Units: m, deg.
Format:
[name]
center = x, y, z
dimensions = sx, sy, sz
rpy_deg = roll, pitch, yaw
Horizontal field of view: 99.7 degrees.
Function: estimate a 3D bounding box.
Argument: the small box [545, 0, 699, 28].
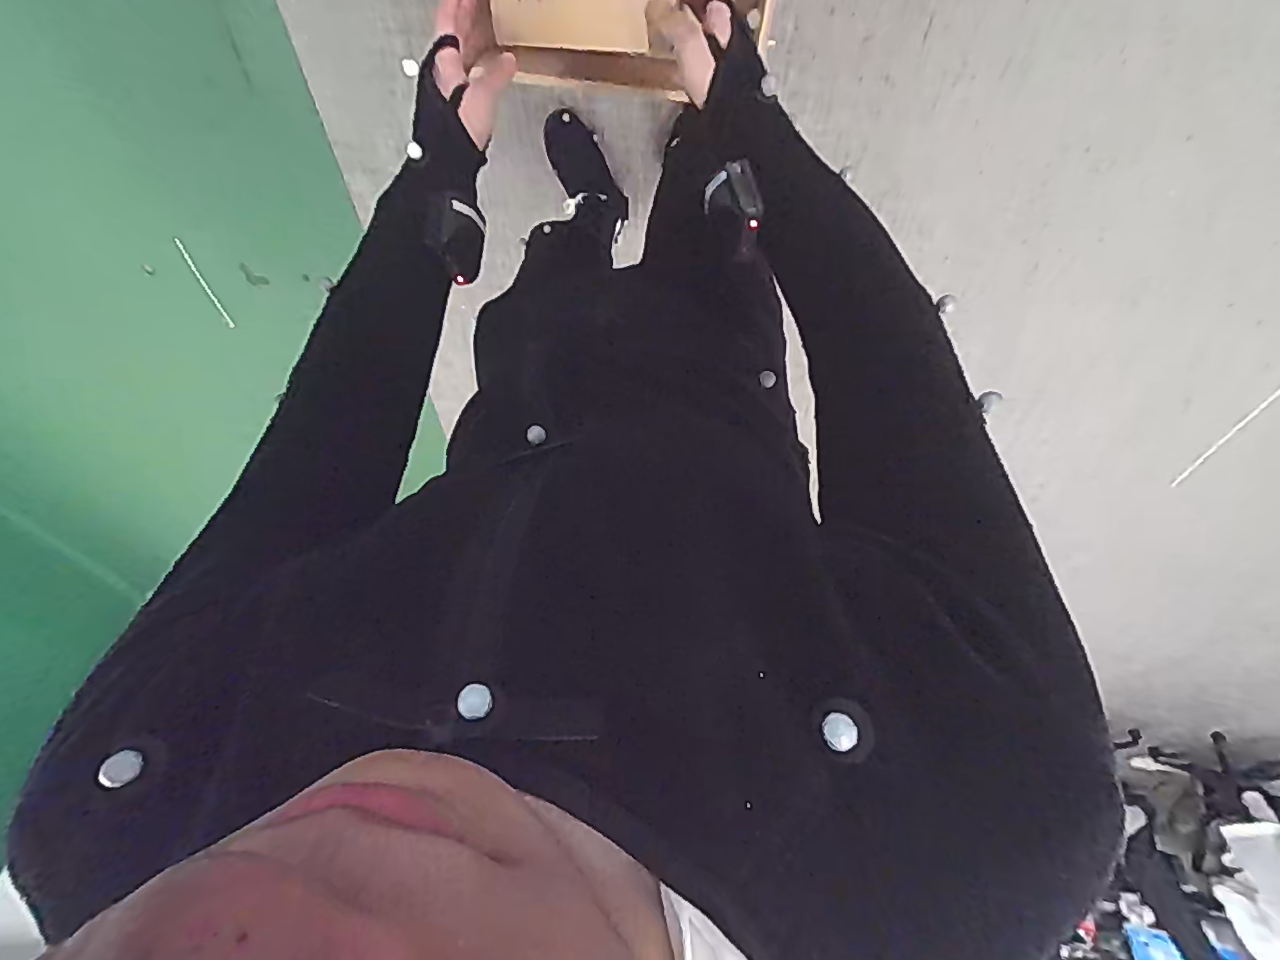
[small box]
center = -0.010, -0.642, 0.614
dimensions = 0.179, 0.176, 0.168
rpy_deg = 8, 139, 3
